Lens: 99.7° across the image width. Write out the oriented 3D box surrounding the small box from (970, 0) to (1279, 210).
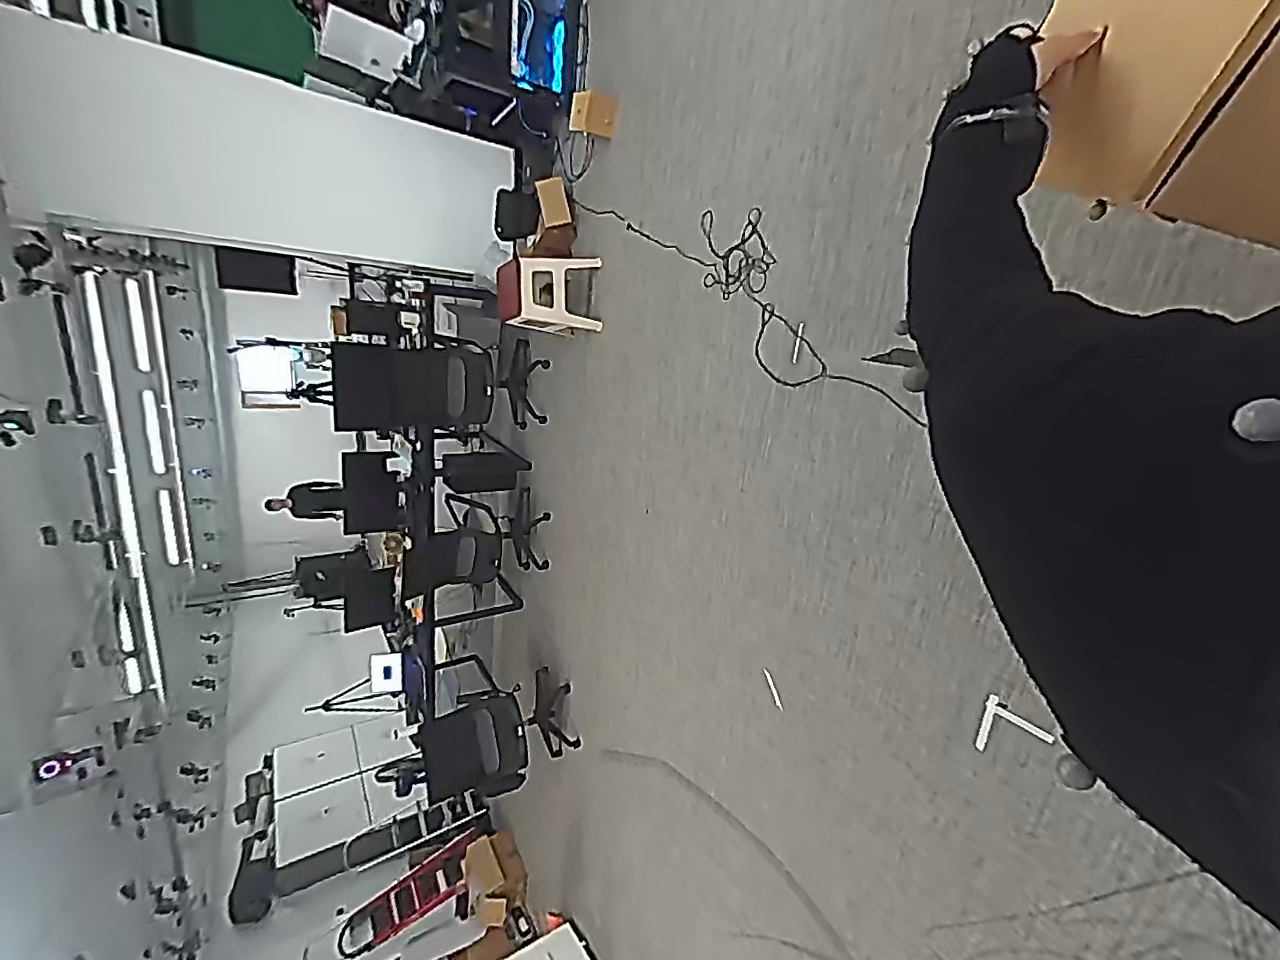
[{"bbox_3d":[0.487,-0.382,0.538,0.179,0.176,0.168,45,133,33],"label":"small box"}]
